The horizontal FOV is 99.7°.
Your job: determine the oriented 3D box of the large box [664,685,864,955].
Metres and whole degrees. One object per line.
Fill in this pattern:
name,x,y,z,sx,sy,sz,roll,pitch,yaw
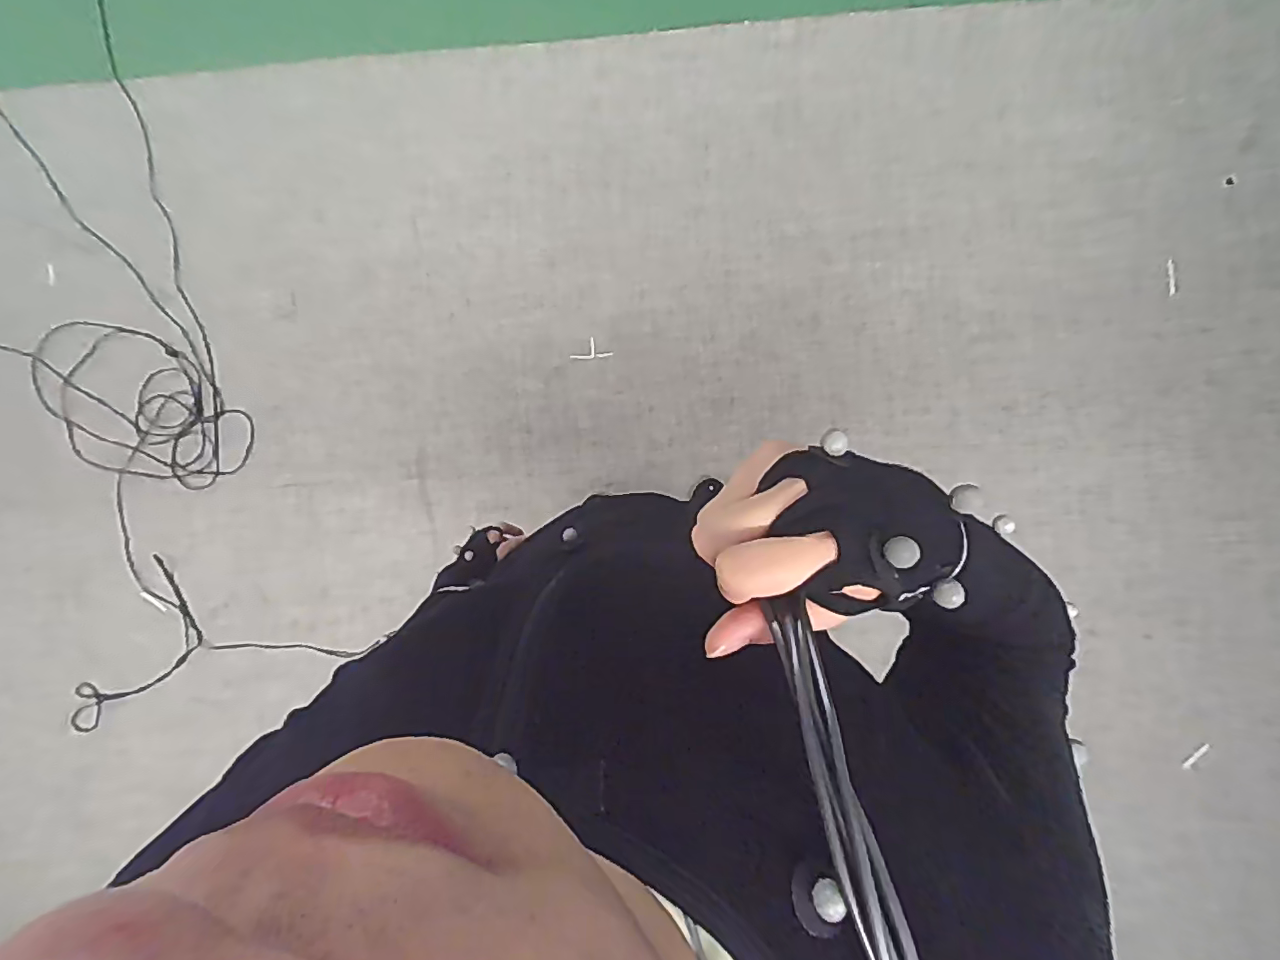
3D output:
large box,0.271,0.781,1.303,0.320,0.320,0.408,-18,90,1
